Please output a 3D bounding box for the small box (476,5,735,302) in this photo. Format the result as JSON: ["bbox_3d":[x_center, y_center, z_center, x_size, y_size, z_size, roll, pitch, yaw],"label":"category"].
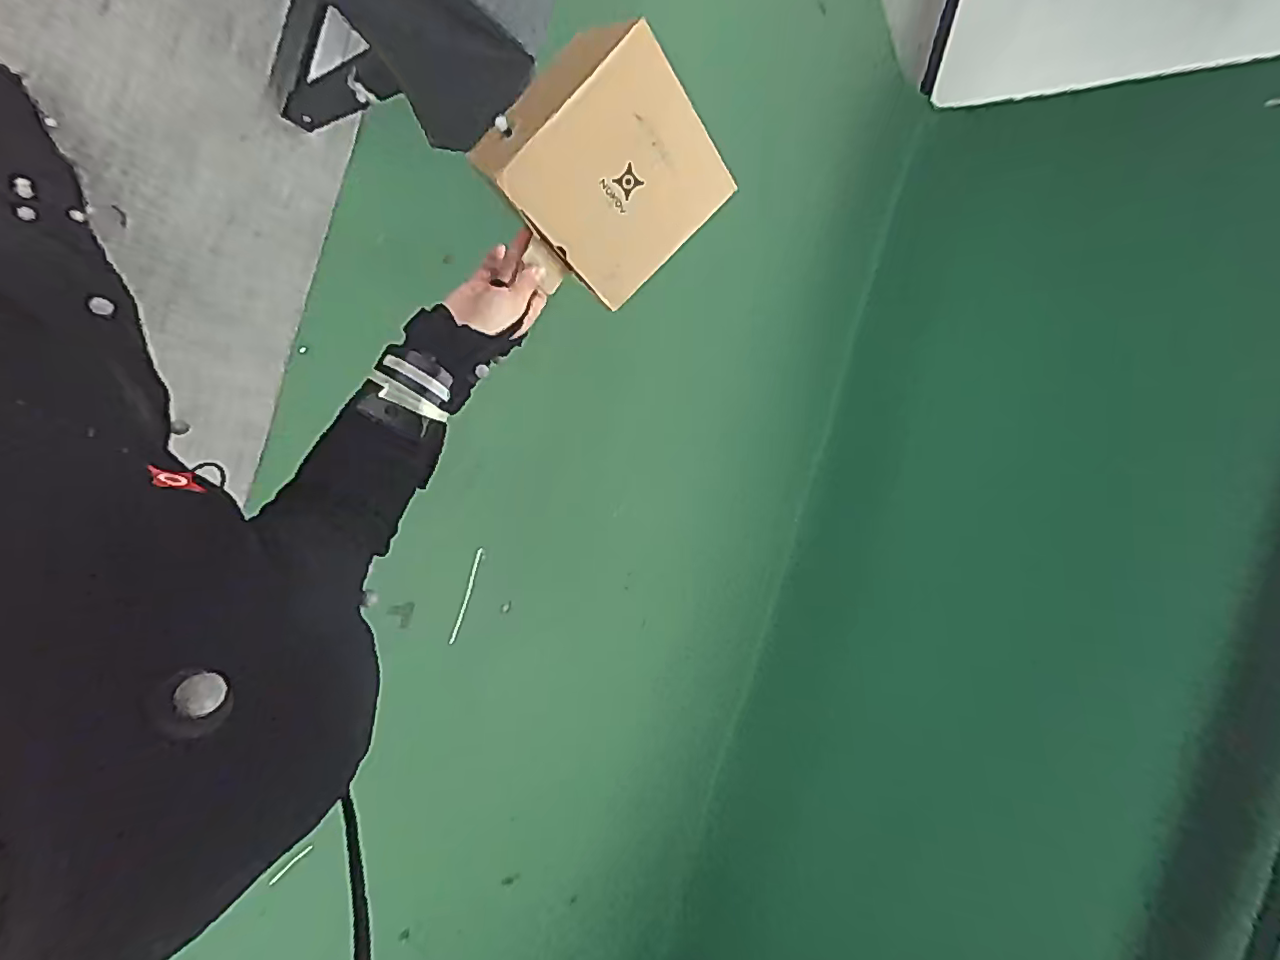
[{"bbox_3d":[-0.044,-0.320,0.543,0.179,0.176,0.168,-43,134,8],"label":"small box"}]
